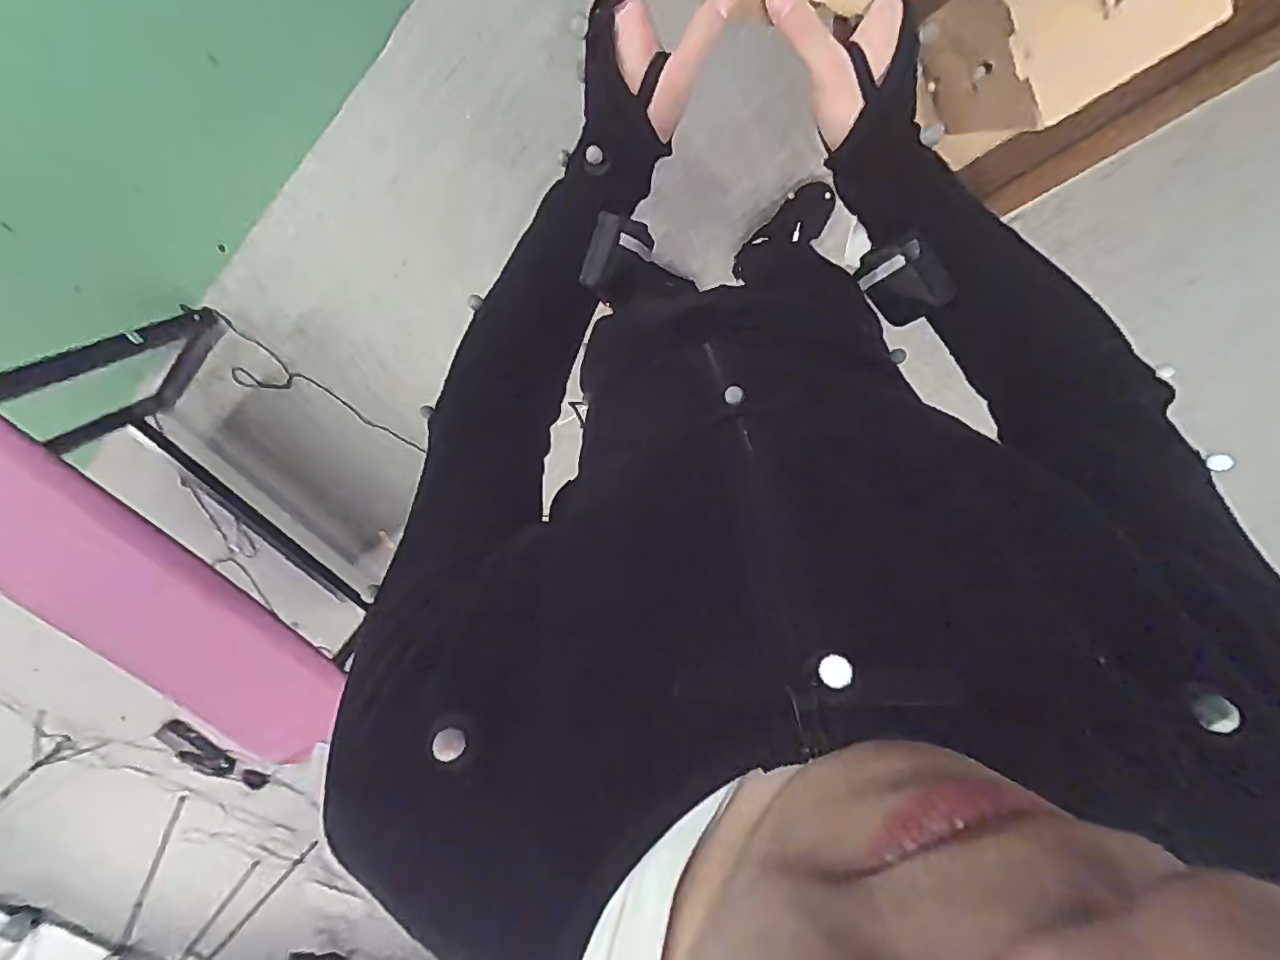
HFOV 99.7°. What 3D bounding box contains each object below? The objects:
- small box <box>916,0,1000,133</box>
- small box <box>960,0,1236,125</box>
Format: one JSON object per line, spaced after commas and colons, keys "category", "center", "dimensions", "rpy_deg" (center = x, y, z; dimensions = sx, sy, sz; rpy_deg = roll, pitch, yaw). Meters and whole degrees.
{"category": "small box", "center": [0.517, -0.616, 0.747], "dimensions": [0.179, 0.176, 0.168], "rpy_deg": [-27, 112, 24]}
{"category": "small box", "center": [0.490, -0.532, 0.610], "dimensions": [0.179, 0.176, 0.168], "rpy_deg": [-27, 113, 25]}
